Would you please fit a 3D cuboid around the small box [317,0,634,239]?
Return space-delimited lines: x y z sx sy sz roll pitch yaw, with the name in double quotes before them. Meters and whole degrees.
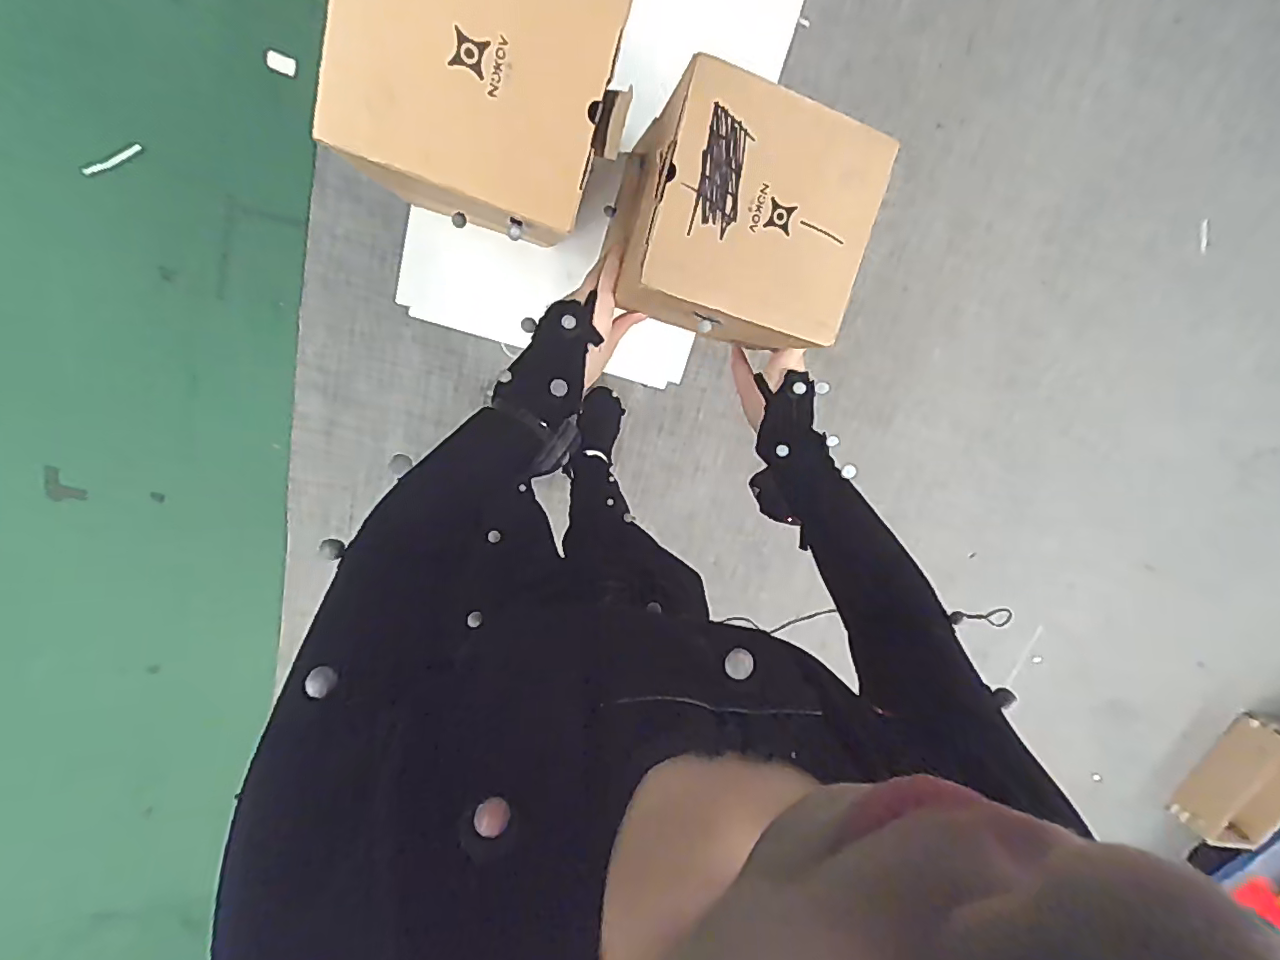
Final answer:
"small box" -0.125 -0.306 0.431 0.179 0.176 0.168 13 105 -19

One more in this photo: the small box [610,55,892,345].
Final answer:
"small box" 0.082 -0.225 0.495 0.179 0.176 0.168 13 99 -16
